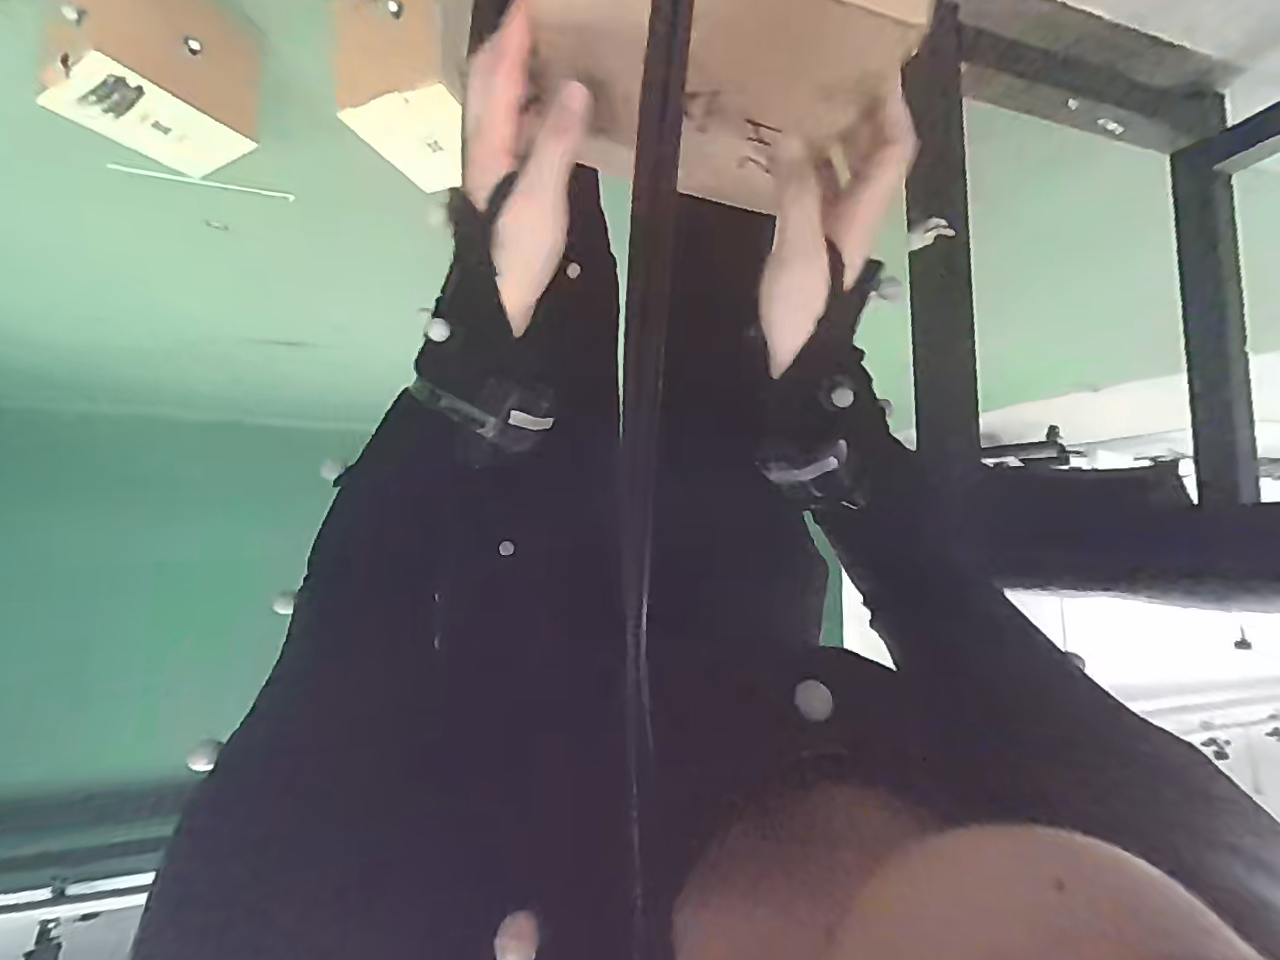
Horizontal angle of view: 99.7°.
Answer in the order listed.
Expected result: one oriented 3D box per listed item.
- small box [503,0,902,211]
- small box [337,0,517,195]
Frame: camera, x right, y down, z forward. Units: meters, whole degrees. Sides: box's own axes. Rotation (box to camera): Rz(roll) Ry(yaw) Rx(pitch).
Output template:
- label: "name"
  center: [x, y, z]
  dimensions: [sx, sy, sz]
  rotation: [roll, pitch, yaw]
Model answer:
- label: "small box"
  center: [0.031, -0.289, 0.299]
  dimensions: [0.179, 0.176, 0.168]
  rotation: [10, 179, -7]
- label: "small box"
  center: [-0.283, -0.537, 0.751]
  dimensions: [0.168, 0.176, 0.179]
  rotation: [-1, 174, 19]
